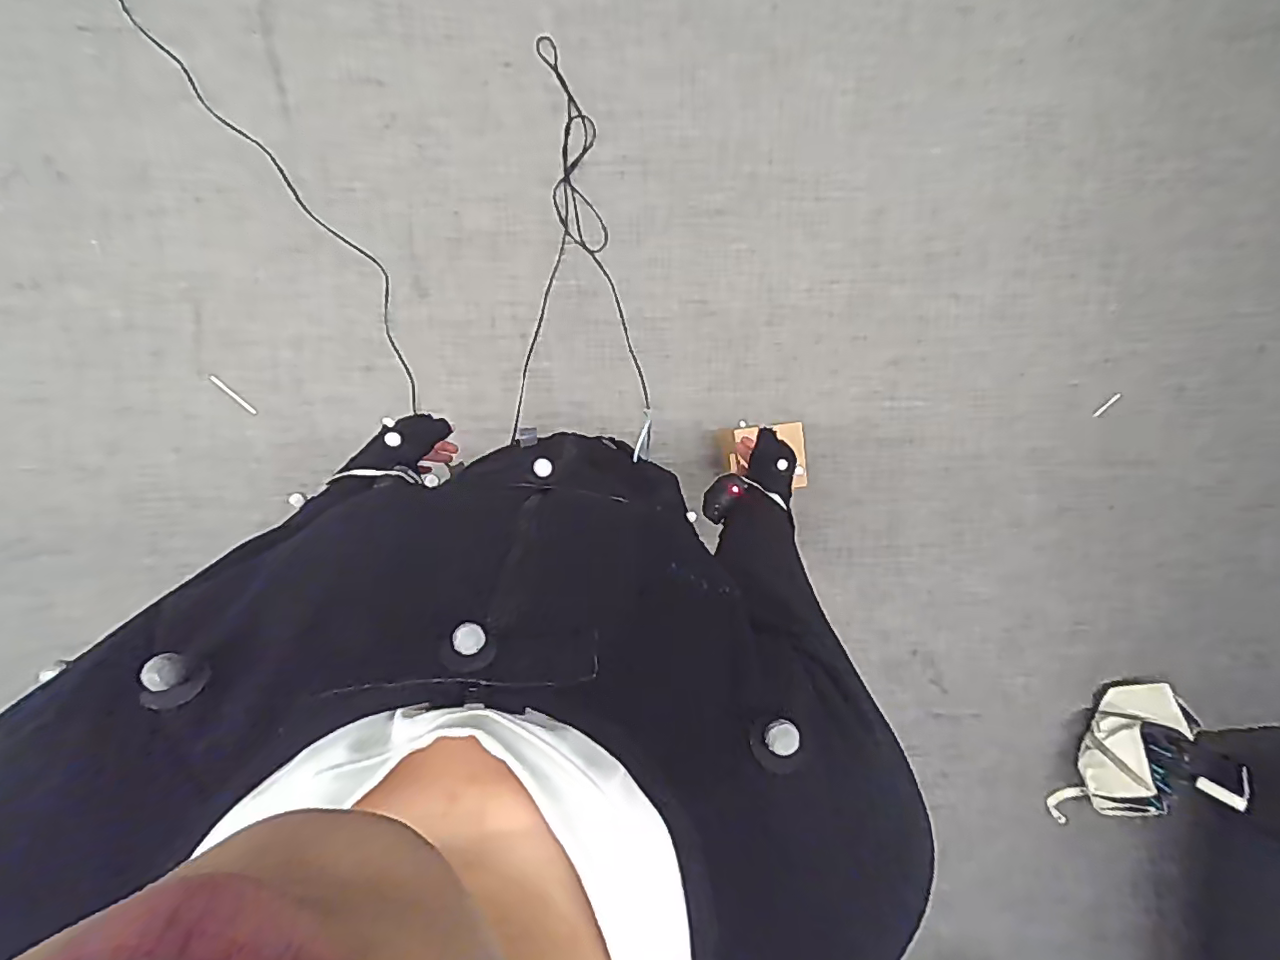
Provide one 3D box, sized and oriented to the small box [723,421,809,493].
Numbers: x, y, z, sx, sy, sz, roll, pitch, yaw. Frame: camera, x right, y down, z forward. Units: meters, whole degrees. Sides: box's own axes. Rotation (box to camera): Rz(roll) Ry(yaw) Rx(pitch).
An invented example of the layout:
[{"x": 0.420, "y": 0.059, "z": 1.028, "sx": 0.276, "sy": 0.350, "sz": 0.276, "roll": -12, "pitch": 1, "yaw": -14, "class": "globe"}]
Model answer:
[{"x": 0.320, "y": -0.062, "z": 1.411, "sx": 0.179, "sy": 0.176, "sz": 0.168, "roll": -7, "pitch": 96, "yaw": -4, "class": "small box"}]
